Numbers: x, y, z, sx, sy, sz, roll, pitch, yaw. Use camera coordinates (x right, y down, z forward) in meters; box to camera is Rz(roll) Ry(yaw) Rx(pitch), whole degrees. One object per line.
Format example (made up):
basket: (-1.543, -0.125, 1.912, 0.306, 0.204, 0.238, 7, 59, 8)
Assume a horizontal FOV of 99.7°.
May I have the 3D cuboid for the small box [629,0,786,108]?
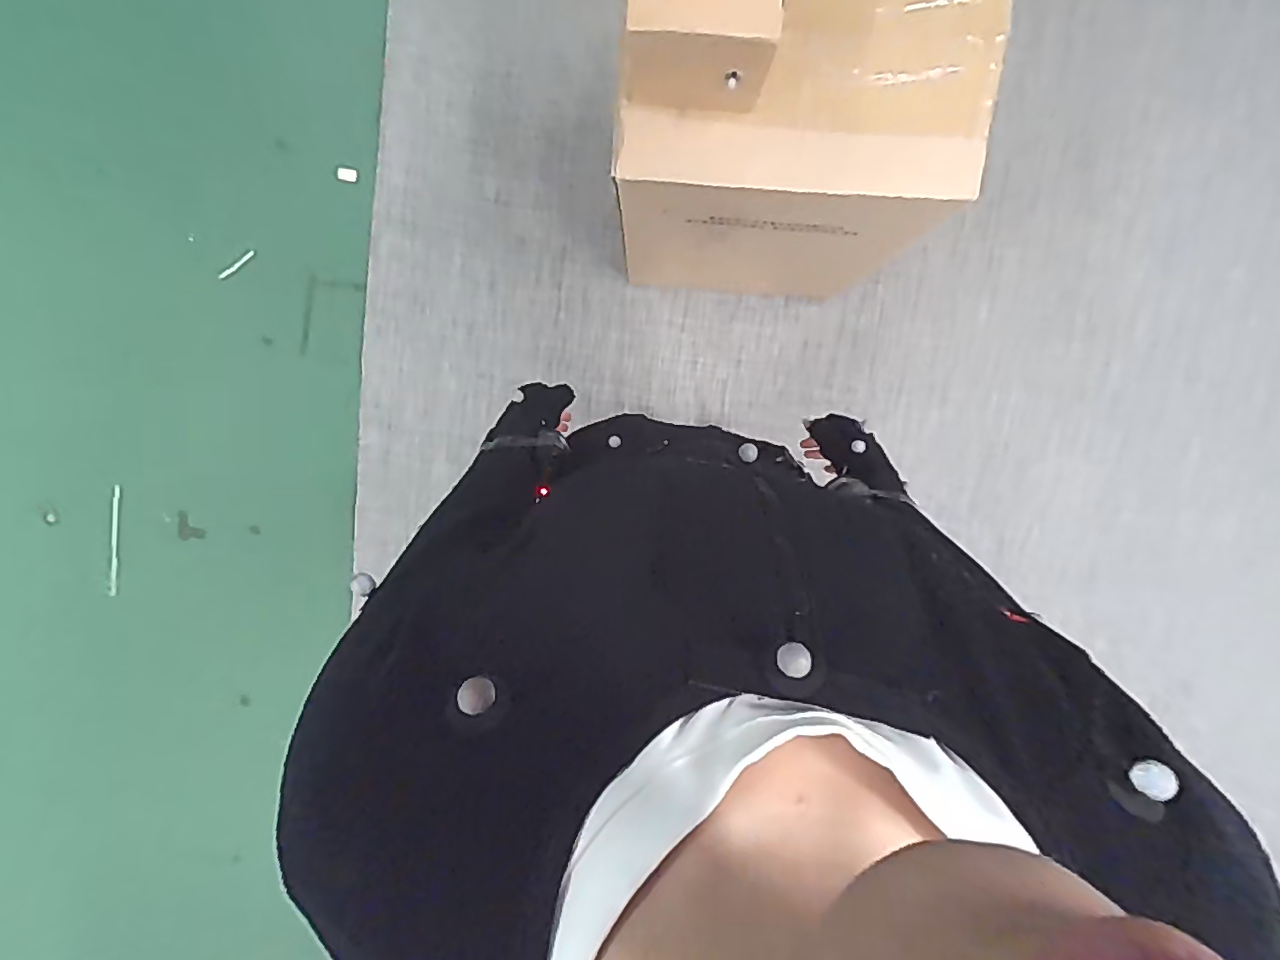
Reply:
small box: (0.080, -0.593, 0.671, 0.179, 0.176, 0.168, 3, 100, 1)
